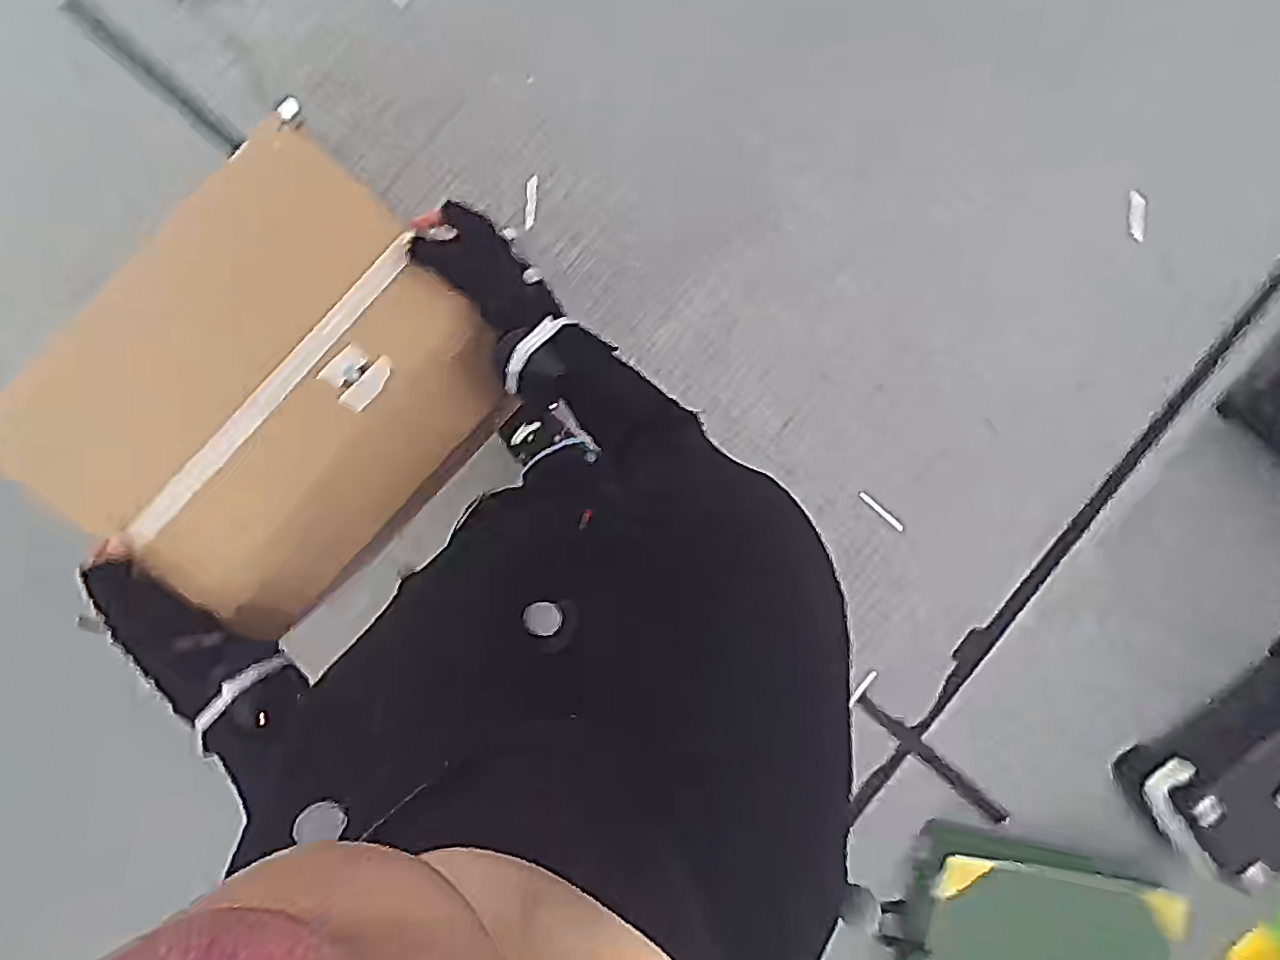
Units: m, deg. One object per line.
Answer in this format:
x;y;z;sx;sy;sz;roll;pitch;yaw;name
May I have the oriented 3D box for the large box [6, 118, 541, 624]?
-0.371;-0.110;0.676;0.320;0.320;0.408;43;88;-12;large box
